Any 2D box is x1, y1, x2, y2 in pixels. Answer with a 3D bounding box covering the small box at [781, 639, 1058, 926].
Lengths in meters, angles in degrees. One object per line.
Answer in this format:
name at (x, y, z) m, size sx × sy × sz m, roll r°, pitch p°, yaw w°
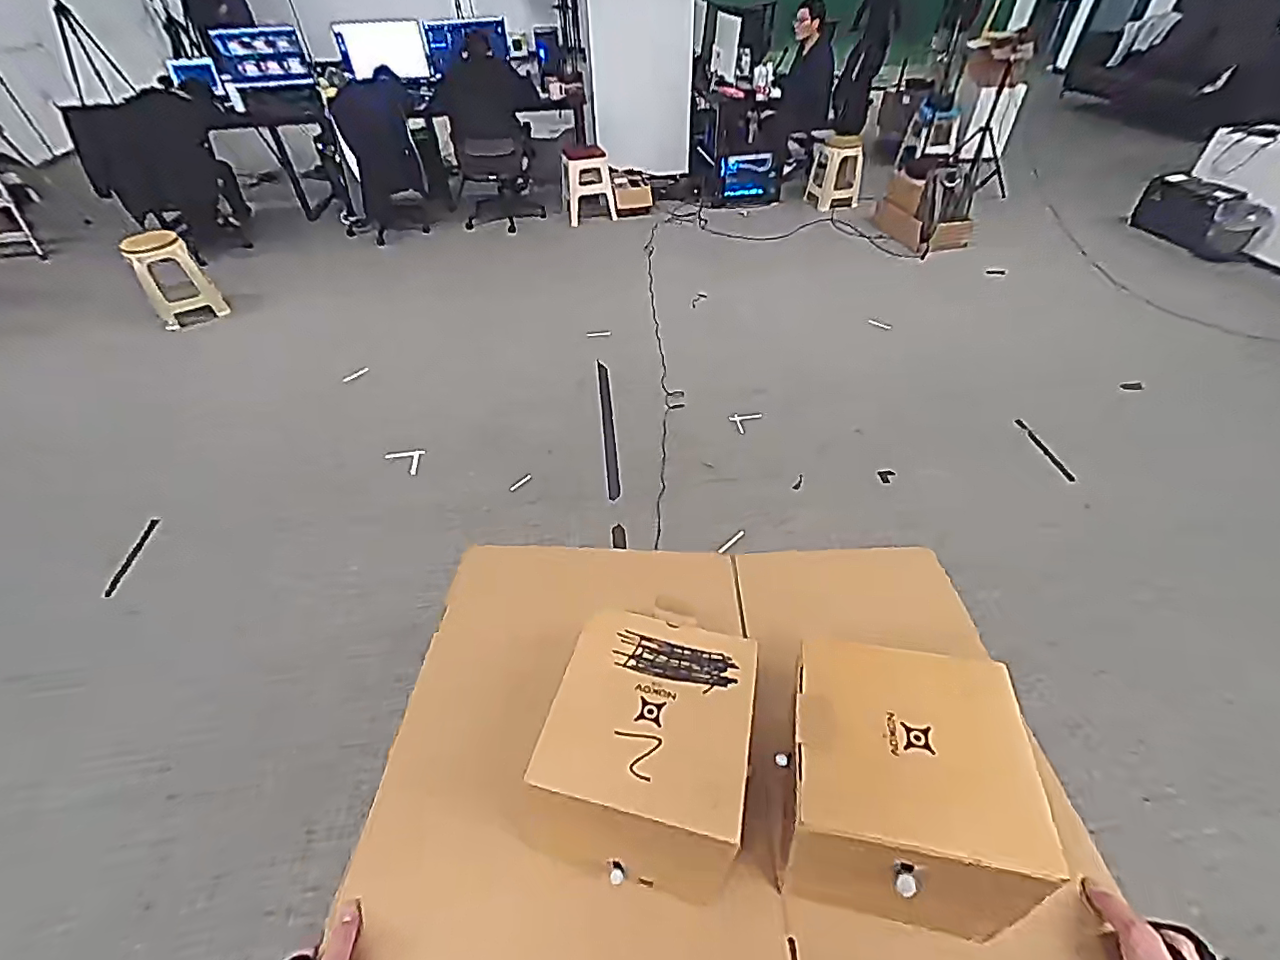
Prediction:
small box at (0.229, 0.275, 0.496) m, size 0.179 × 0.176 × 0.168 m, roll 4°, pitch 40°, yaw 14°
